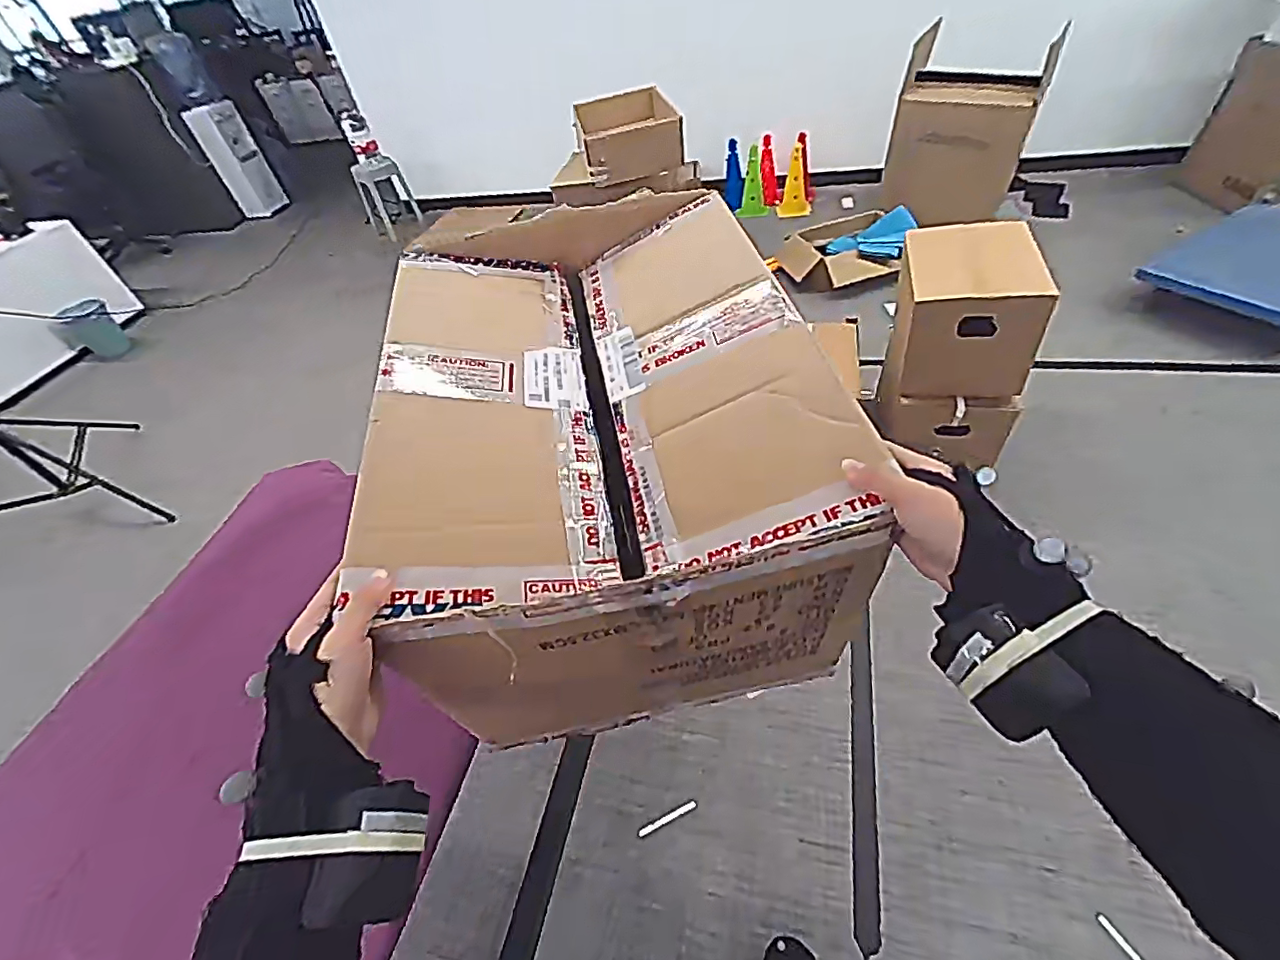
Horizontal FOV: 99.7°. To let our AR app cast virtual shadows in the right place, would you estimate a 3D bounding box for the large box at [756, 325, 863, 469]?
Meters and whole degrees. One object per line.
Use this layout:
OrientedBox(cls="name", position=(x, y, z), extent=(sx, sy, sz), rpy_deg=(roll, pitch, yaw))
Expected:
OrientedBox(cls="large box", position=(0.572, -0.292, 1.878), extent=(0.320, 0.320, 0.408), rpy_deg=(3, 49, 14))
